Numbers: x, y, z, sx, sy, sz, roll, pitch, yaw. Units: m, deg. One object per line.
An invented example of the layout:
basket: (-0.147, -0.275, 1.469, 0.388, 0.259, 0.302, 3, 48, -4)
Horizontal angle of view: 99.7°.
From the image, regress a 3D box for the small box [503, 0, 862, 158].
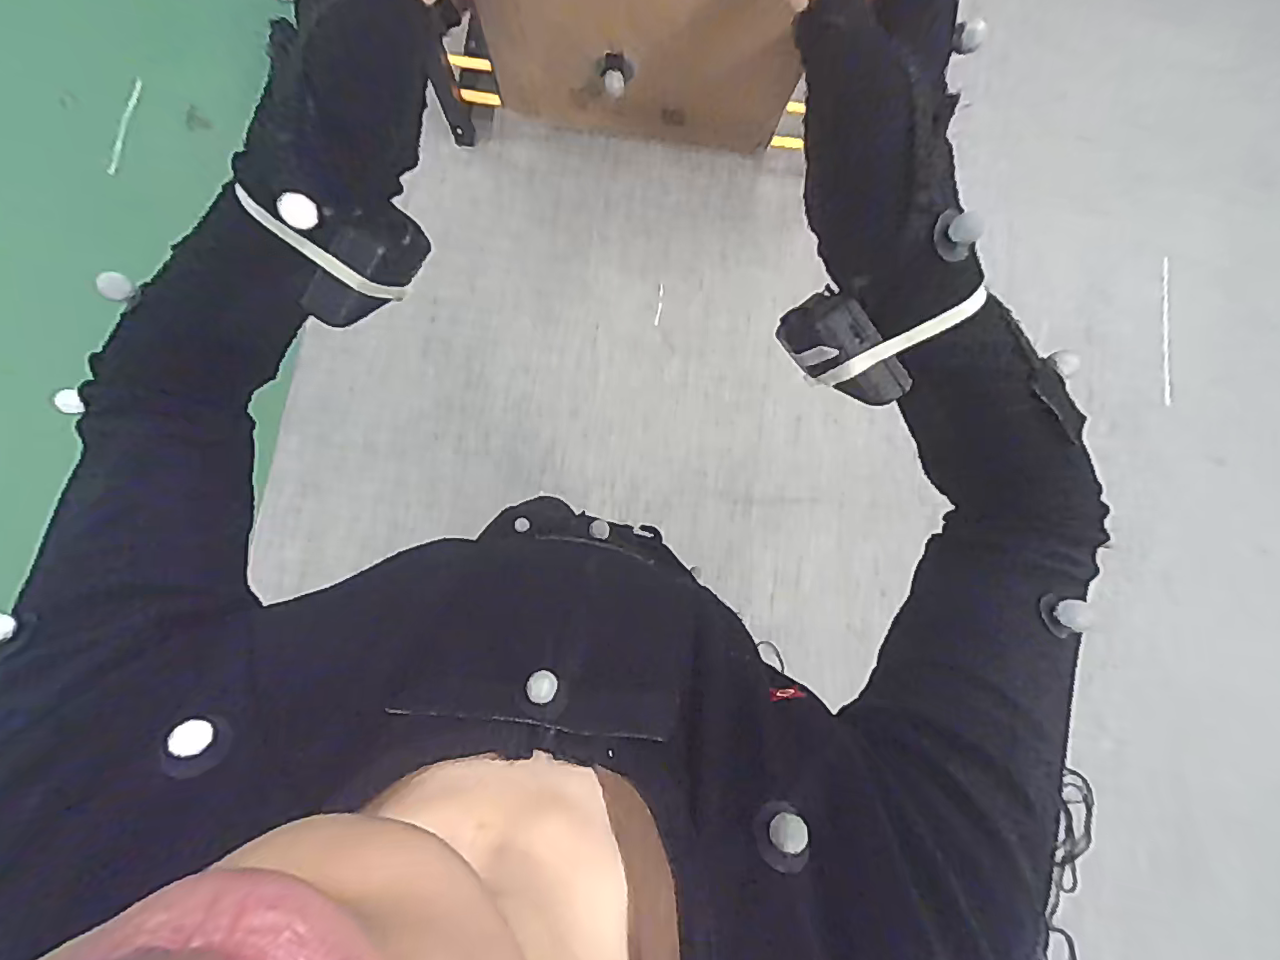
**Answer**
small box: (0.021, -0.296, 0.257, 0.168, 0.176, 0.179, 7, 92, -4)
